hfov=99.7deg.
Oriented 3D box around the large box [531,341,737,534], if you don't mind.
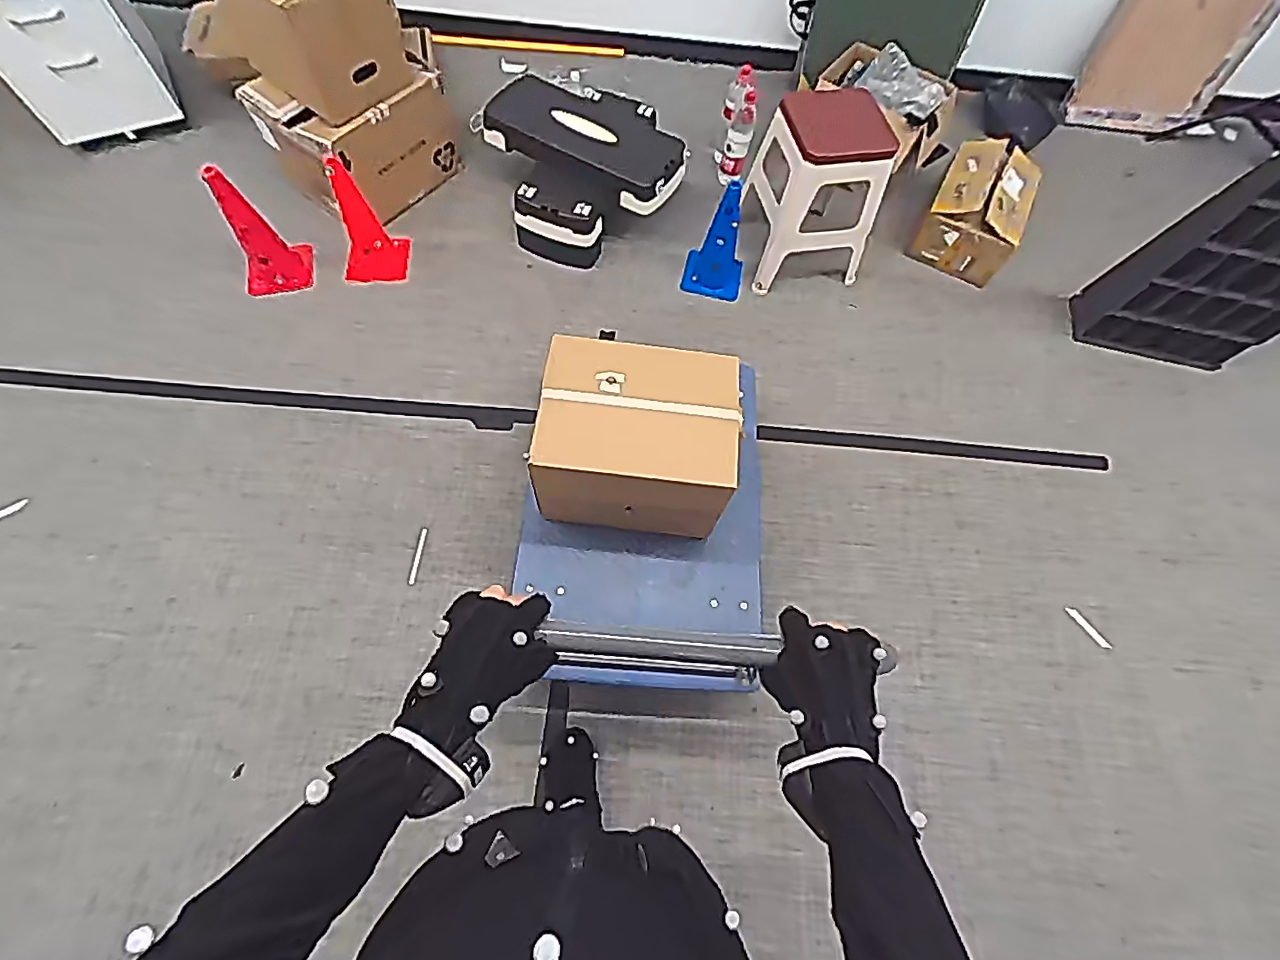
[{"bbox_3d":[-0.007,-0.081,1.237,0.408,0.320,0.320,7,65,-1],"label":"large box"}]
